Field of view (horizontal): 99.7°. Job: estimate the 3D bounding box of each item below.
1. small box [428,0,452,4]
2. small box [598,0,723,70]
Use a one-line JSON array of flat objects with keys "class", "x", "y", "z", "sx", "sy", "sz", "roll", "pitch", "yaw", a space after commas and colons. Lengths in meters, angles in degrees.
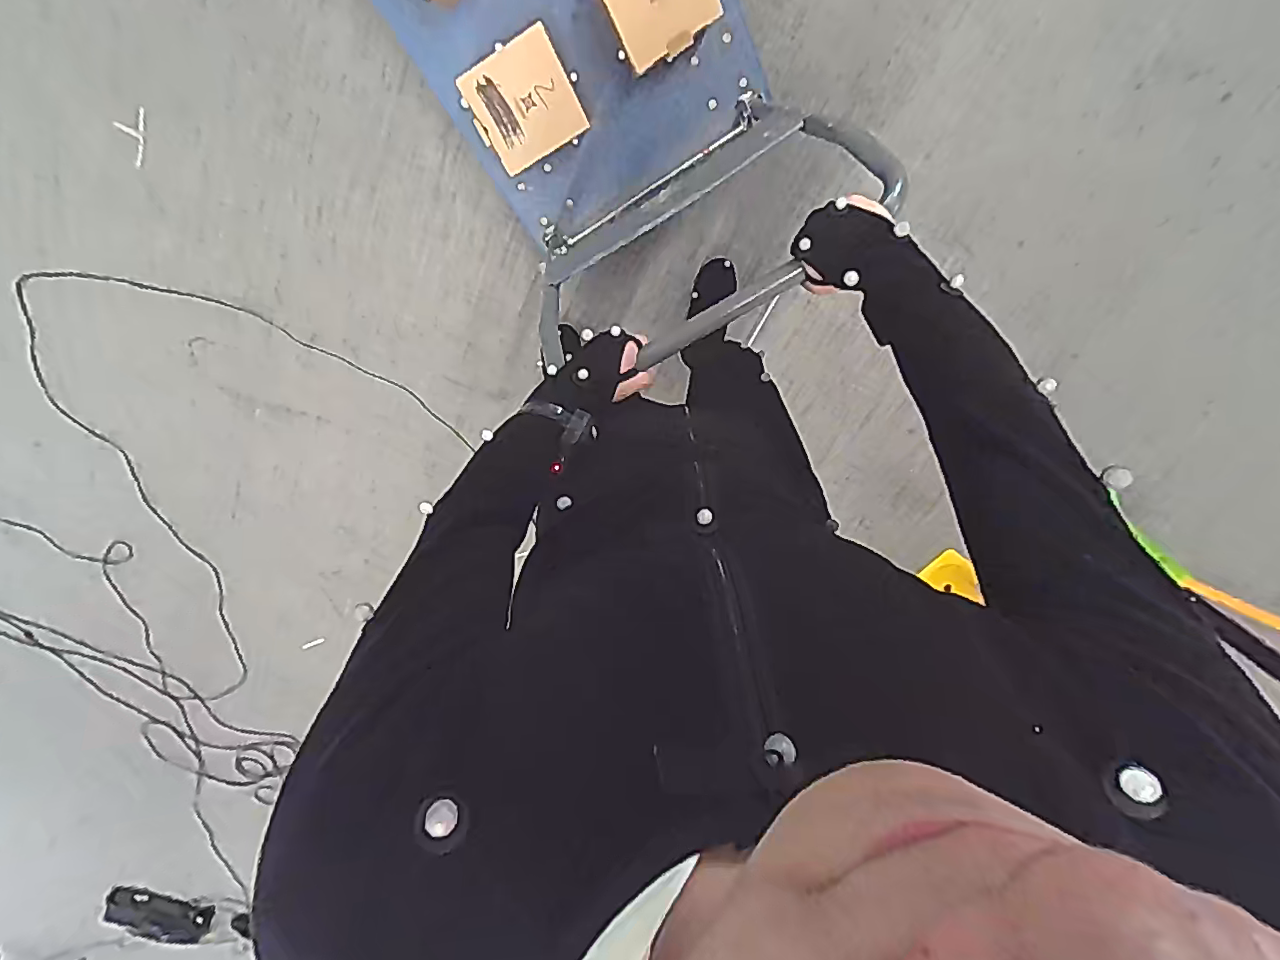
[{"class": "small box", "x": -0.332, "y": -0.902, "z": 0.852, "sx": 0.168, "sy": 0.176, "sz": 0.179, "roll": -35, "pitch": 121, "yaw": 18}, {"class": "small box", "x": 0.020, "y": -0.842, "z": 0.927, "sx": 0.168, "sy": 0.176, "sz": 0.179, "roll": -28, "pitch": 124, "yaw": 14}]
